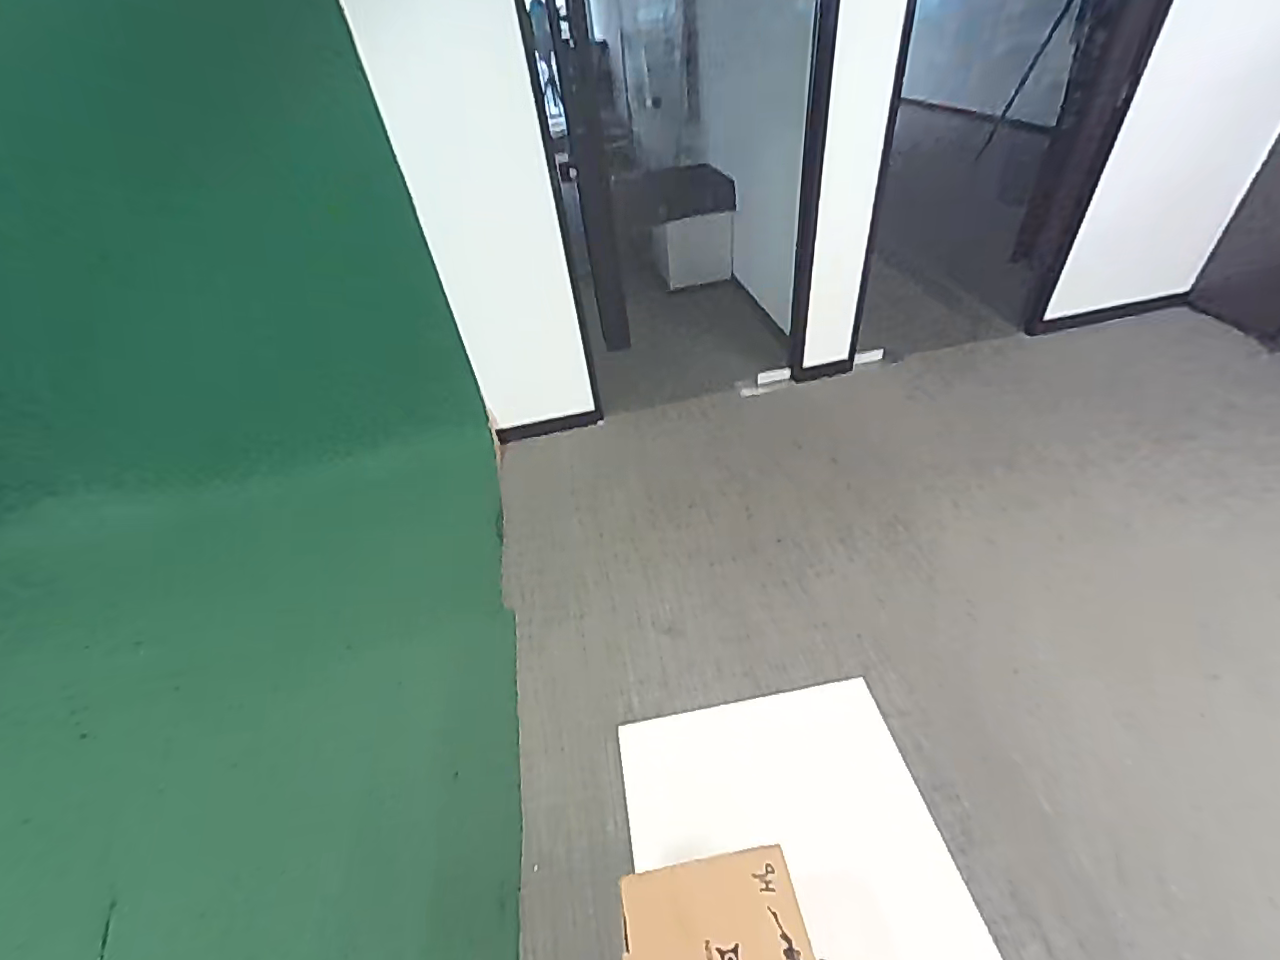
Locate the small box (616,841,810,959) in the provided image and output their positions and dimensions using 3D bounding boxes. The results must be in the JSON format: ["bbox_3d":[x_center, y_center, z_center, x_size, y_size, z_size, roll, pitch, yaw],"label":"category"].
[{"bbox_3d":[0.080,0.509,0.562,0.179,0.176,0.168,-10,42,-3],"label":"small box"}]
